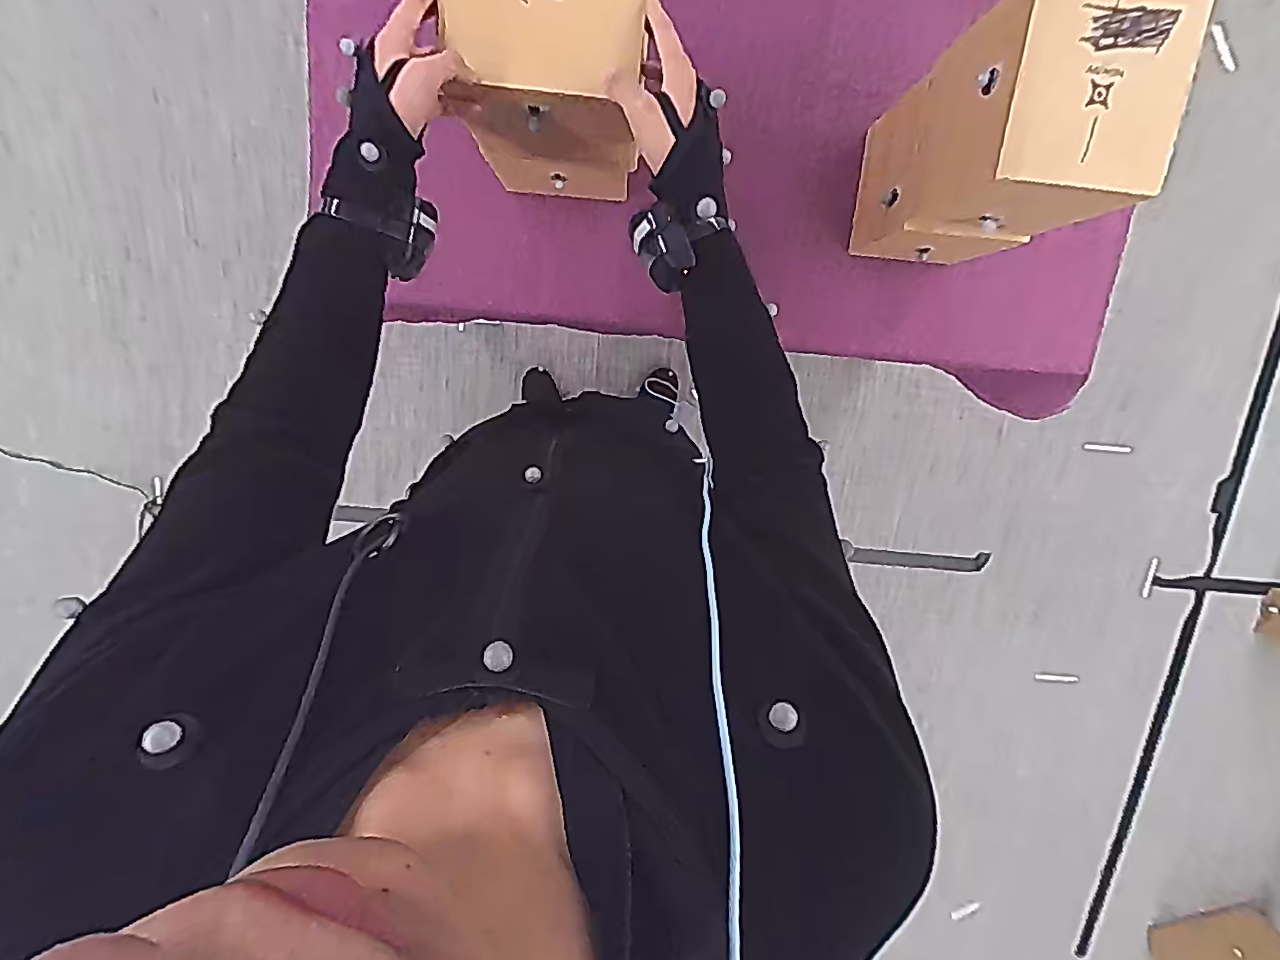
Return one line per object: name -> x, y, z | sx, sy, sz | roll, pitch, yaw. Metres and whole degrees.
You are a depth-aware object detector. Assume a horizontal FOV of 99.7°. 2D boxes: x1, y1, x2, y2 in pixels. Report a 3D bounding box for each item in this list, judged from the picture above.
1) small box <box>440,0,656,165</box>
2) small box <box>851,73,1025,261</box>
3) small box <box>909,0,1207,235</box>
small box -> -0.077, -0.426, 0.523 | 0.179, 0.176, 0.168 | 6, 102, -1
small box -> 0.410, -0.408, 0.740 | 0.168, 0.176, 0.179 | 5, 103, -4
small box -> 0.419, -0.380, 0.578 | 0.168, 0.176, 0.179 | 5, 103, -3
